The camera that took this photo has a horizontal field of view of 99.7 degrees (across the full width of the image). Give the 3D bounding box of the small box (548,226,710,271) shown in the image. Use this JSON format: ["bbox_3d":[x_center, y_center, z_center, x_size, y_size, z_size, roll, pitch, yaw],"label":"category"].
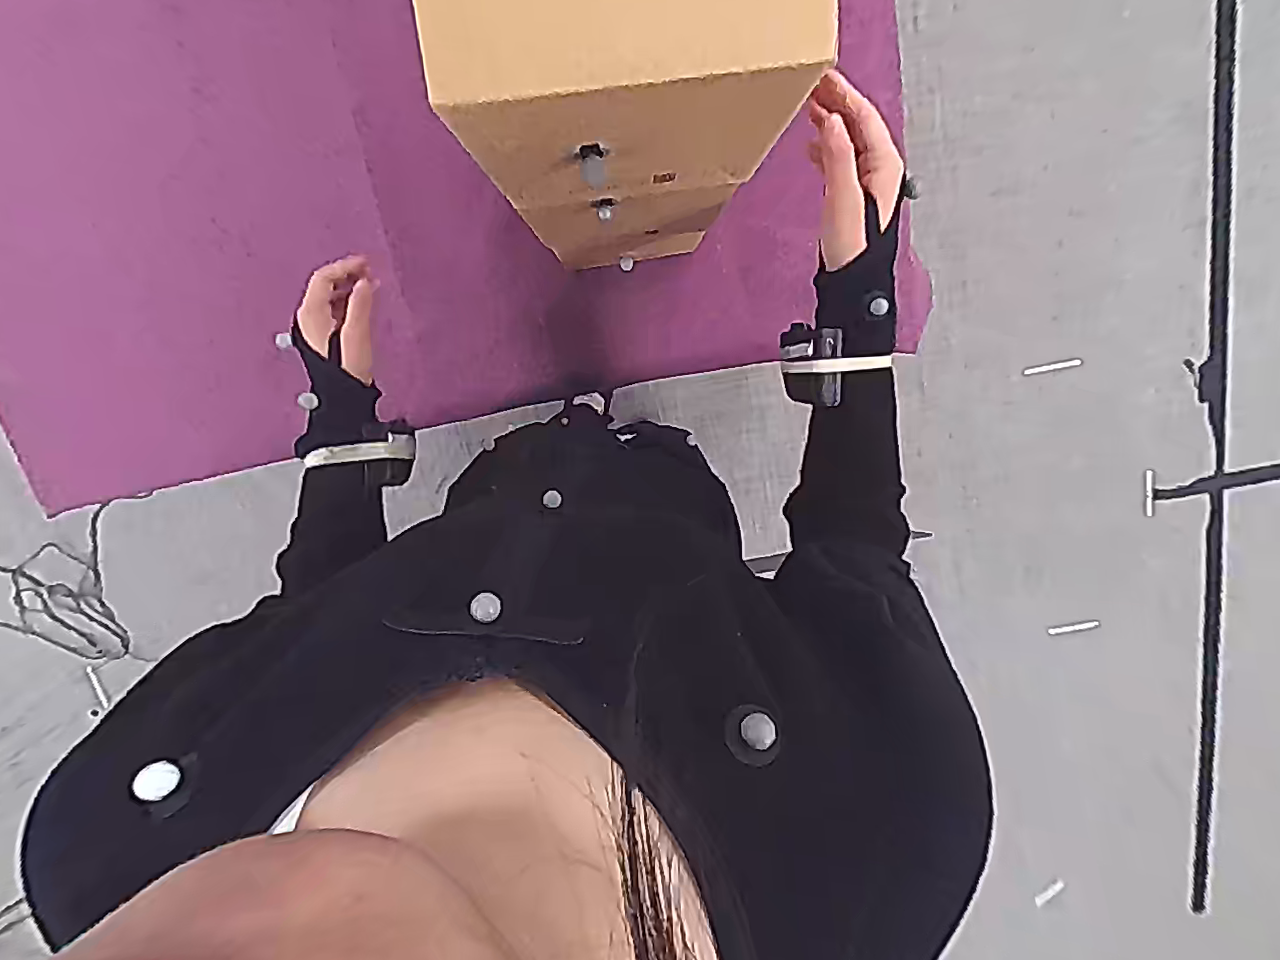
[{"bbox_3d":[-0.022,-0.342,0.591,0.168,0.176,0.179,-8,103,1],"label":"small box"}]

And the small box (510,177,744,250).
[{"bbox_3d":[-0.017,-0.301,0.433,0.168,0.176,0.179,-6,102,1],"label":"small box"}]

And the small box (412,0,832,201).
[{"bbox_3d":[-0.012,-0.258,0.275,0.168,0.176,0.179,-6,103,1],"label":"small box"}]
